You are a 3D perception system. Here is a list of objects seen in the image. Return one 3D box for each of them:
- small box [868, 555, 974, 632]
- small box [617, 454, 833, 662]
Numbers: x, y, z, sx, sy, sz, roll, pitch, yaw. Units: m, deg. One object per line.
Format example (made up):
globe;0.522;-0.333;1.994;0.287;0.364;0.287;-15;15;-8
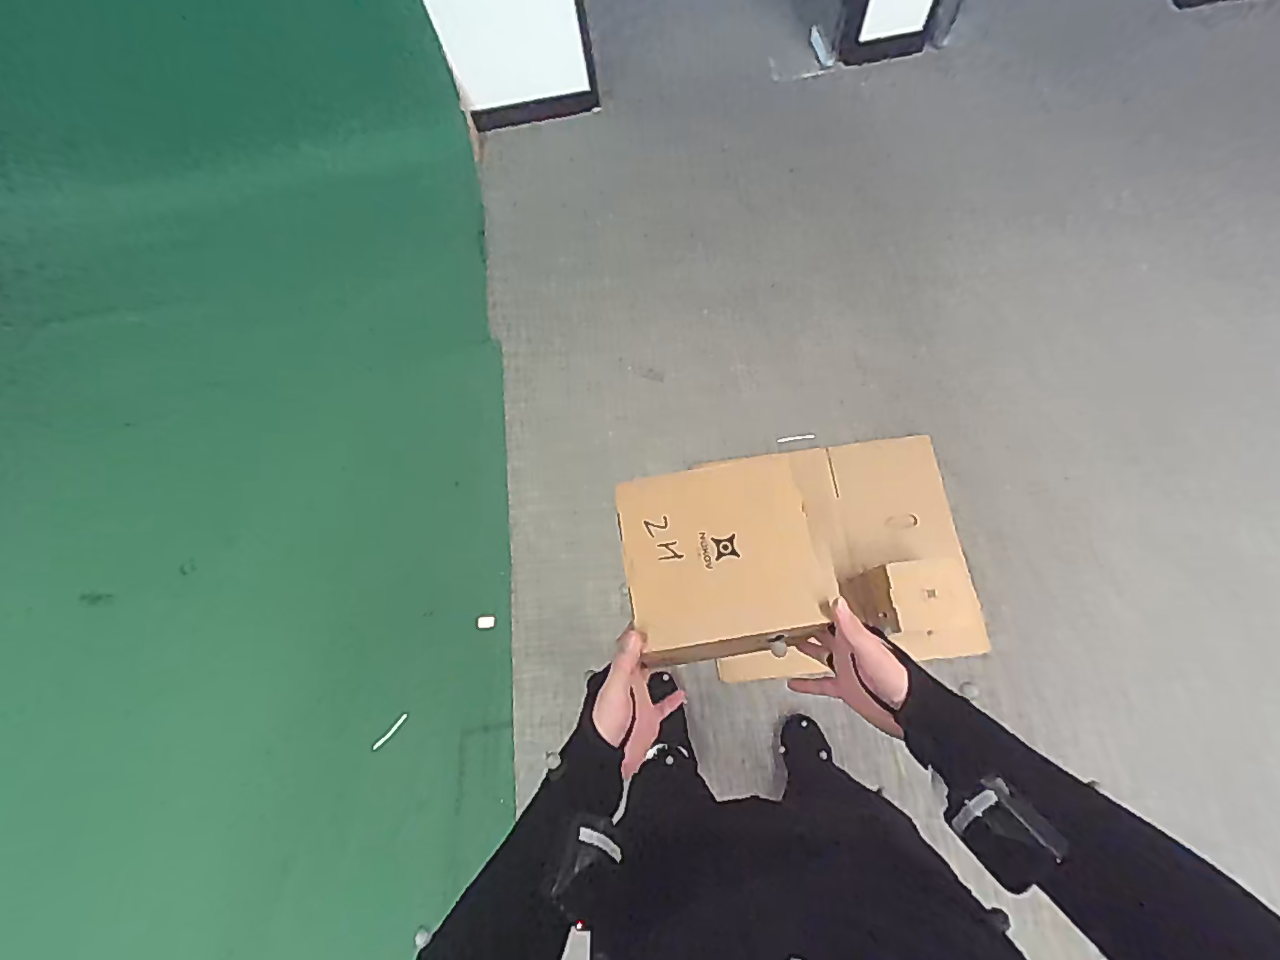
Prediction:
small box;0.691;0.290;1.359;0.179;0.176;0.168;-6;73;3
small box;0.079;0.092;0.572;0.179;0.176;0.168;-9;65;2
